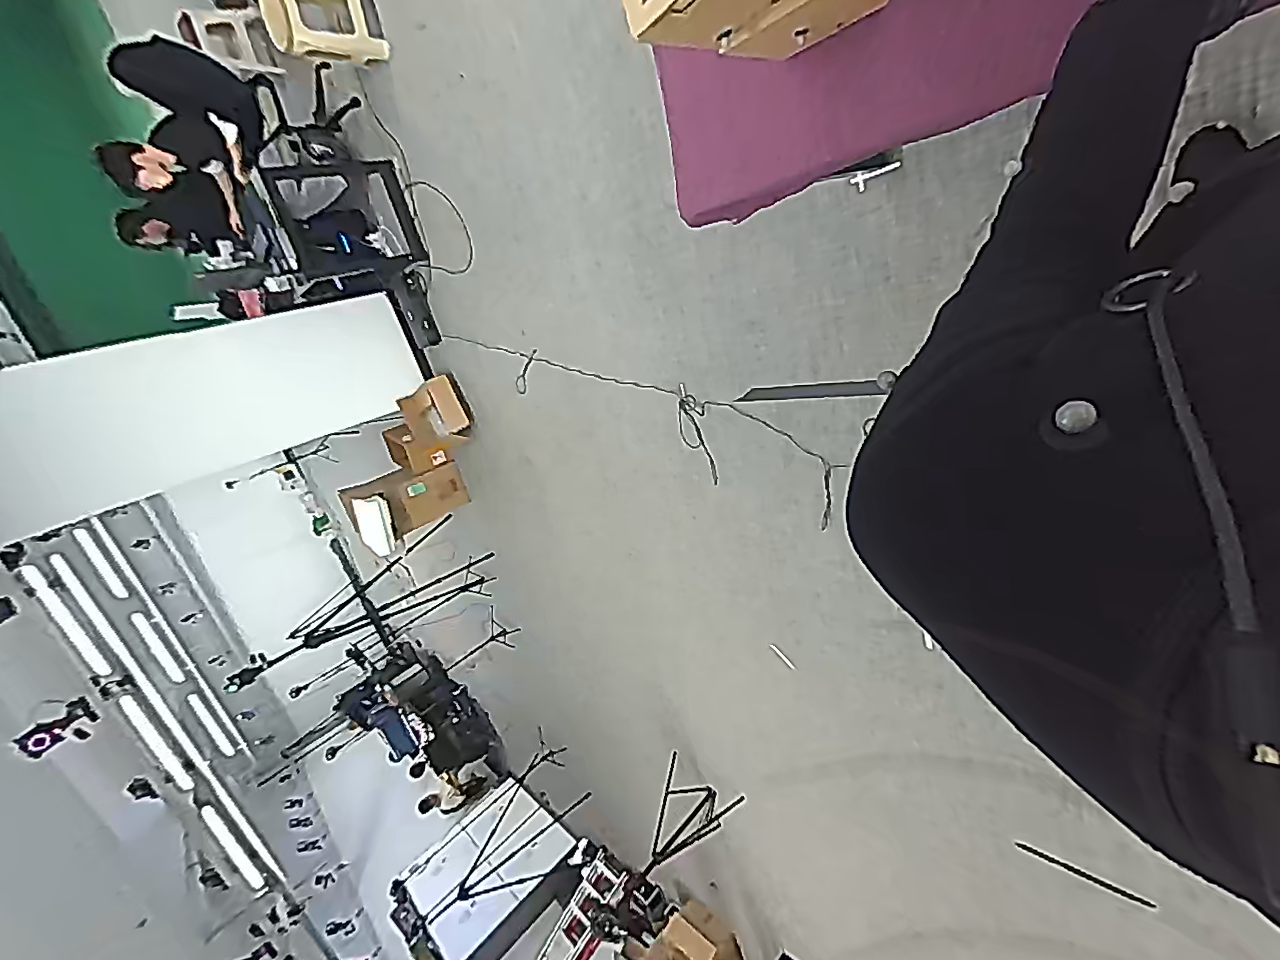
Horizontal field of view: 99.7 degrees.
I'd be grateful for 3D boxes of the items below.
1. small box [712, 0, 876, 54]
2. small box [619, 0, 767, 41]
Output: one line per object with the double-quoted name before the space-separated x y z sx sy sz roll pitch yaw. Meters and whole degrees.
"small box" 0.193 -0.686 0.695 0.168 0.176 0.179 9 121 46
"small box" 0.073 -0.628 0.598 0.168 0.176 0.179 3 117 48
